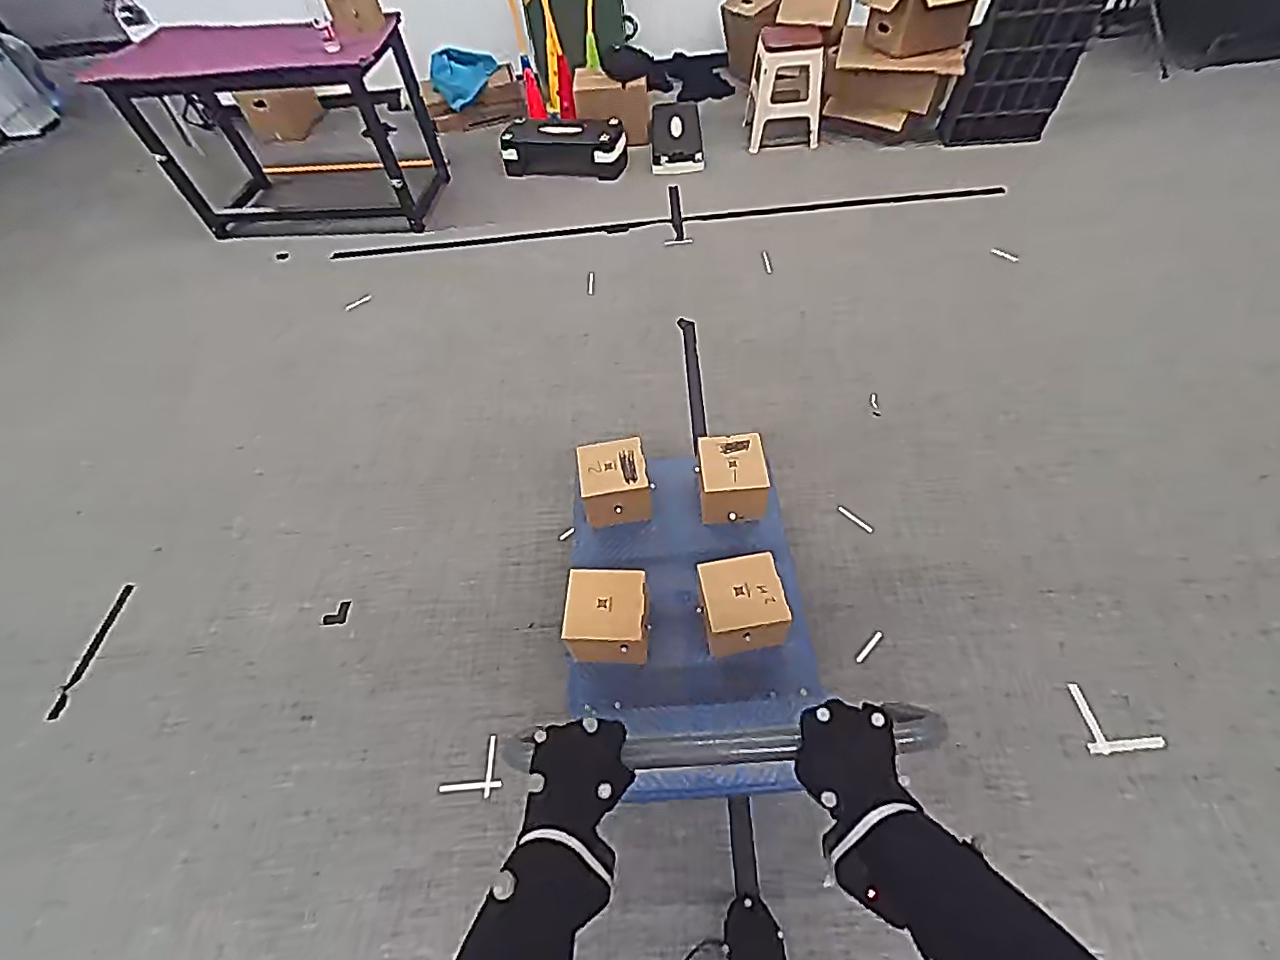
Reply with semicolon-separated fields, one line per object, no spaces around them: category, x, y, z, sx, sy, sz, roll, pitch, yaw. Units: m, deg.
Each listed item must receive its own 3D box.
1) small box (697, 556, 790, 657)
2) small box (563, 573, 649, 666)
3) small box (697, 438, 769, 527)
small box;0.233;0.300;1.258;0.179;0.176;0.168;-10;55;-1
small box;-0.072;0.330;1.268;0.179;0.176;0.168;0;55;4
small box;0.244;0.008;1.461;0.168;0.176;0.179;-5;56;2
